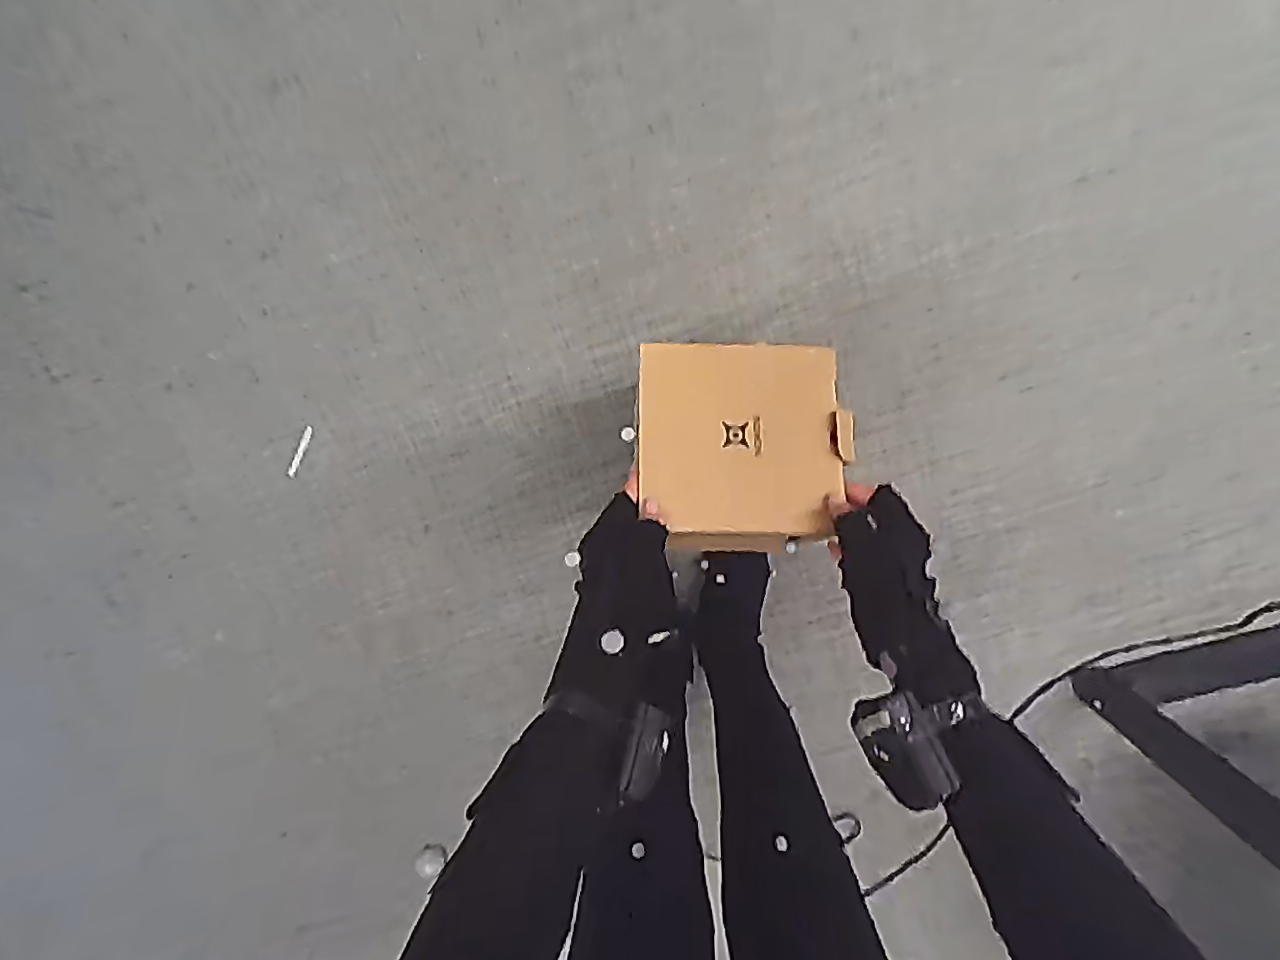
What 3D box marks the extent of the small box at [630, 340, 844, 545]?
[{"bbox_3d":[0.080,-0.024,0.535,0.179,0.176,0.168,1,79,-3],"label":"small box"}]
